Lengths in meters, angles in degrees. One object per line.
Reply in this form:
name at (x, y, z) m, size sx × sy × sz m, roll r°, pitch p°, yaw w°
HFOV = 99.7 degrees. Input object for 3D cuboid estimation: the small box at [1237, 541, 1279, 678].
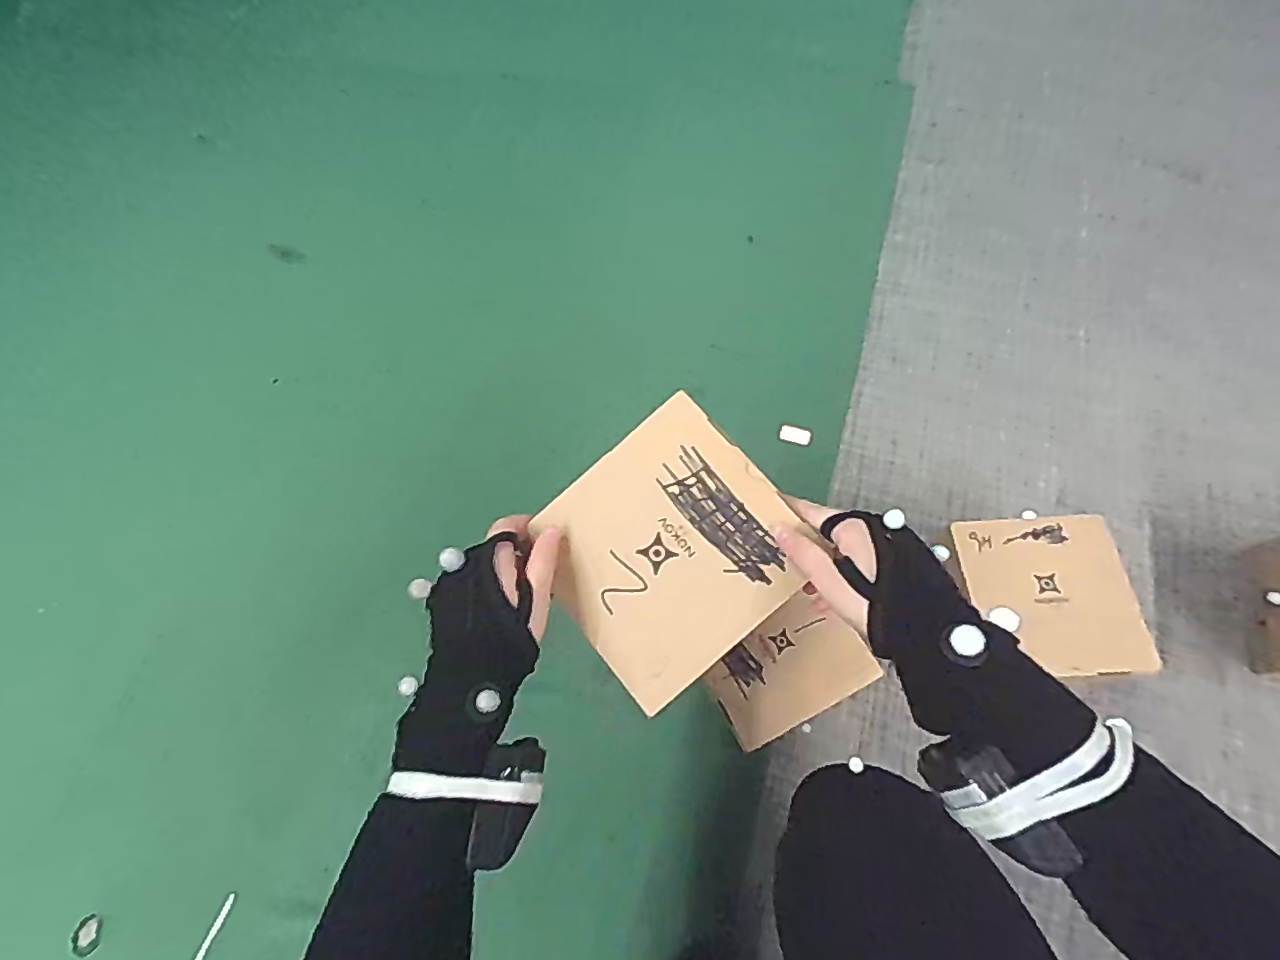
small box at (0.846, 0.150, 0.602) m, size 0.179 × 0.176 × 0.168 m, roll 12°, pitch 68°, yaw 13°

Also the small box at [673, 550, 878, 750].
small box at (0.160, 0.220, 0.684) m, size 0.179 × 0.176 × 0.168 m, roll -28°, pitch 65°, yaw -5°

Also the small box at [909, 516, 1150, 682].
small box at (0.453, 0.155, 0.665) m, size 0.168 × 0.176 × 0.179 m, roll -3°, pitch 67°, yaw 8°
